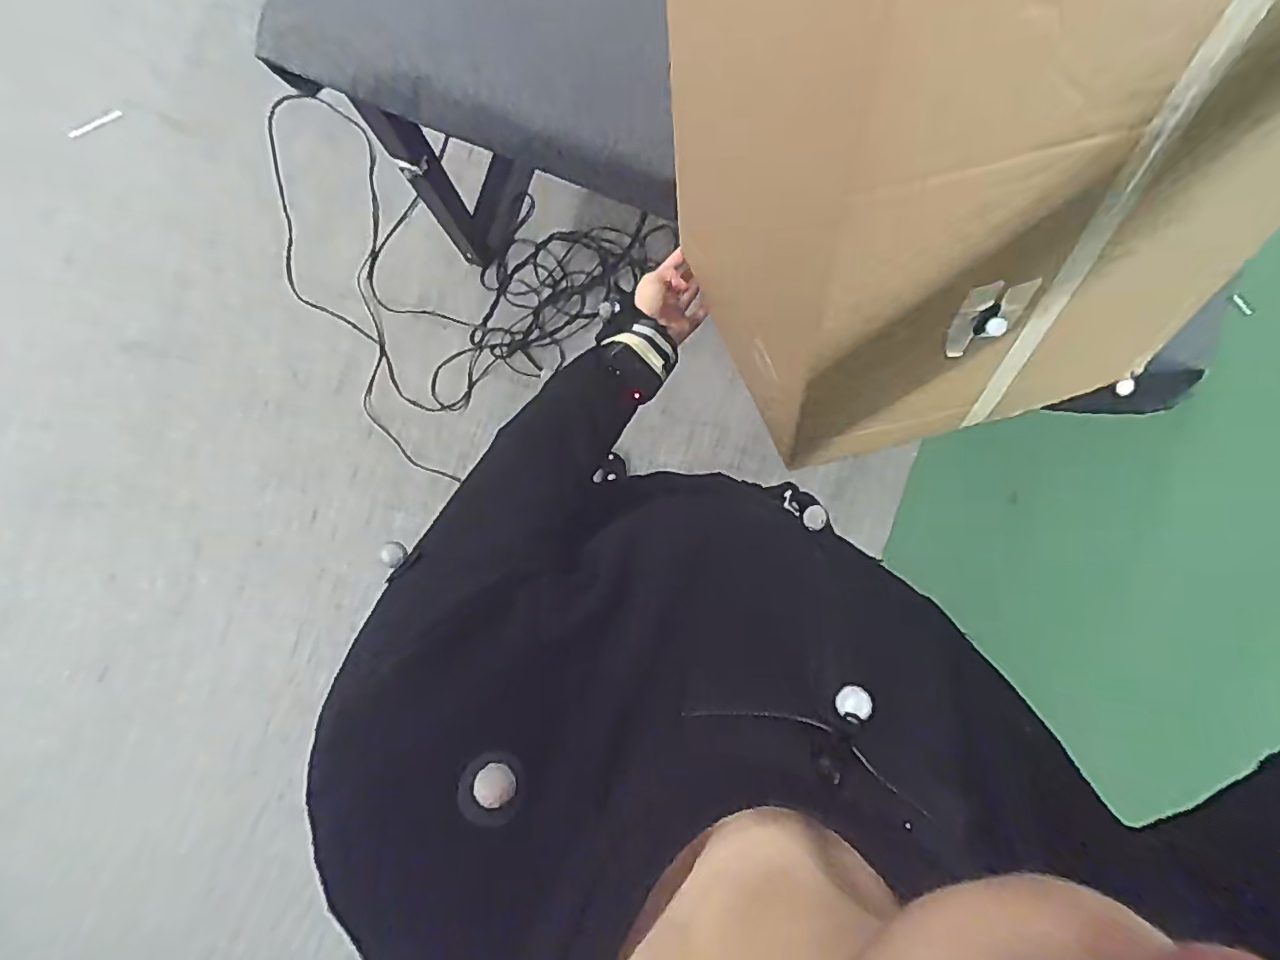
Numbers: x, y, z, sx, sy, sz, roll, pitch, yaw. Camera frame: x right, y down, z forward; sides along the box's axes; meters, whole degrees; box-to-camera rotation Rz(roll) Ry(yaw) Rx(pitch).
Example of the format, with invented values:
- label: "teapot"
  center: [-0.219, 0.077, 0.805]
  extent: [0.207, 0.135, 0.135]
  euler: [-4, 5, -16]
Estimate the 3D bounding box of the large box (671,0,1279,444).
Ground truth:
- label: "large box"
  center: [0.211, -0.293, 0.369]
  extent: [0.320, 0.408, 0.320]
  euler: [-16, 60, -1]
